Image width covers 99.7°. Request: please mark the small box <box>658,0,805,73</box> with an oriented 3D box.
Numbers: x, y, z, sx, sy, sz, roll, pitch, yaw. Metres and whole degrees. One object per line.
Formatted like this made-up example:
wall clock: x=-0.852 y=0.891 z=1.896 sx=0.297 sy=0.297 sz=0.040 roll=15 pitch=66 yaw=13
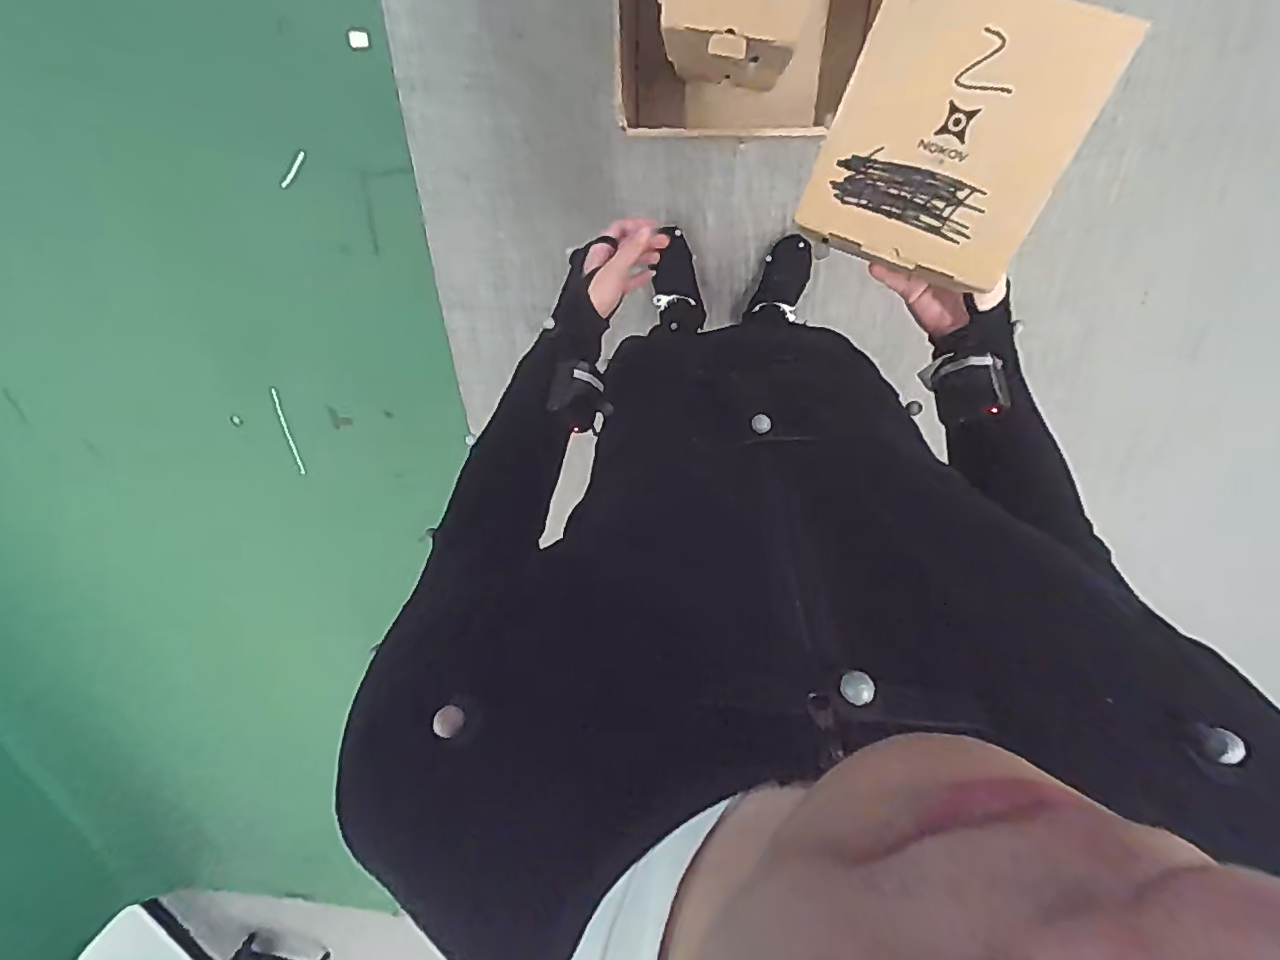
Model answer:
small box: x=0.123 y=-0.627 z=0.659 sx=0.168 sy=0.176 sz=0.179 roll=11 pitch=117 yaw=1
